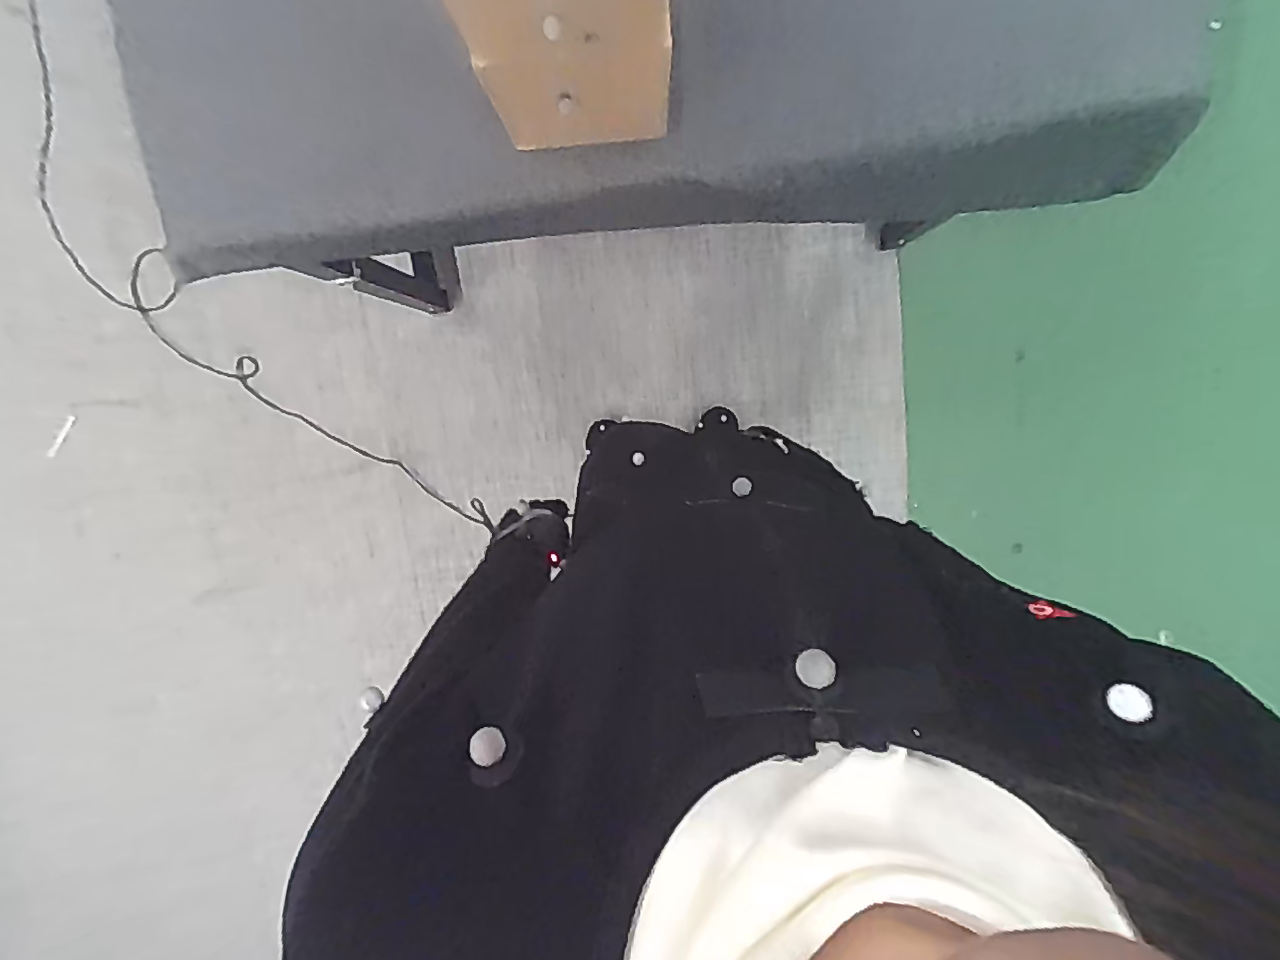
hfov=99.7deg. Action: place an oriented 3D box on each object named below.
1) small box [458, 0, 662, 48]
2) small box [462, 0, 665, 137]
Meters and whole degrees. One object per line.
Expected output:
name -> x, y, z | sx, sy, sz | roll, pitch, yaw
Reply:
small box -> -0.067, -0.443, 0.367 | 0.168, 0.176, 0.179 | -2, 100, 1
small box -> -0.066, -0.463, 0.530 | 0.179, 0.176, 0.168 | -3, 99, 2
